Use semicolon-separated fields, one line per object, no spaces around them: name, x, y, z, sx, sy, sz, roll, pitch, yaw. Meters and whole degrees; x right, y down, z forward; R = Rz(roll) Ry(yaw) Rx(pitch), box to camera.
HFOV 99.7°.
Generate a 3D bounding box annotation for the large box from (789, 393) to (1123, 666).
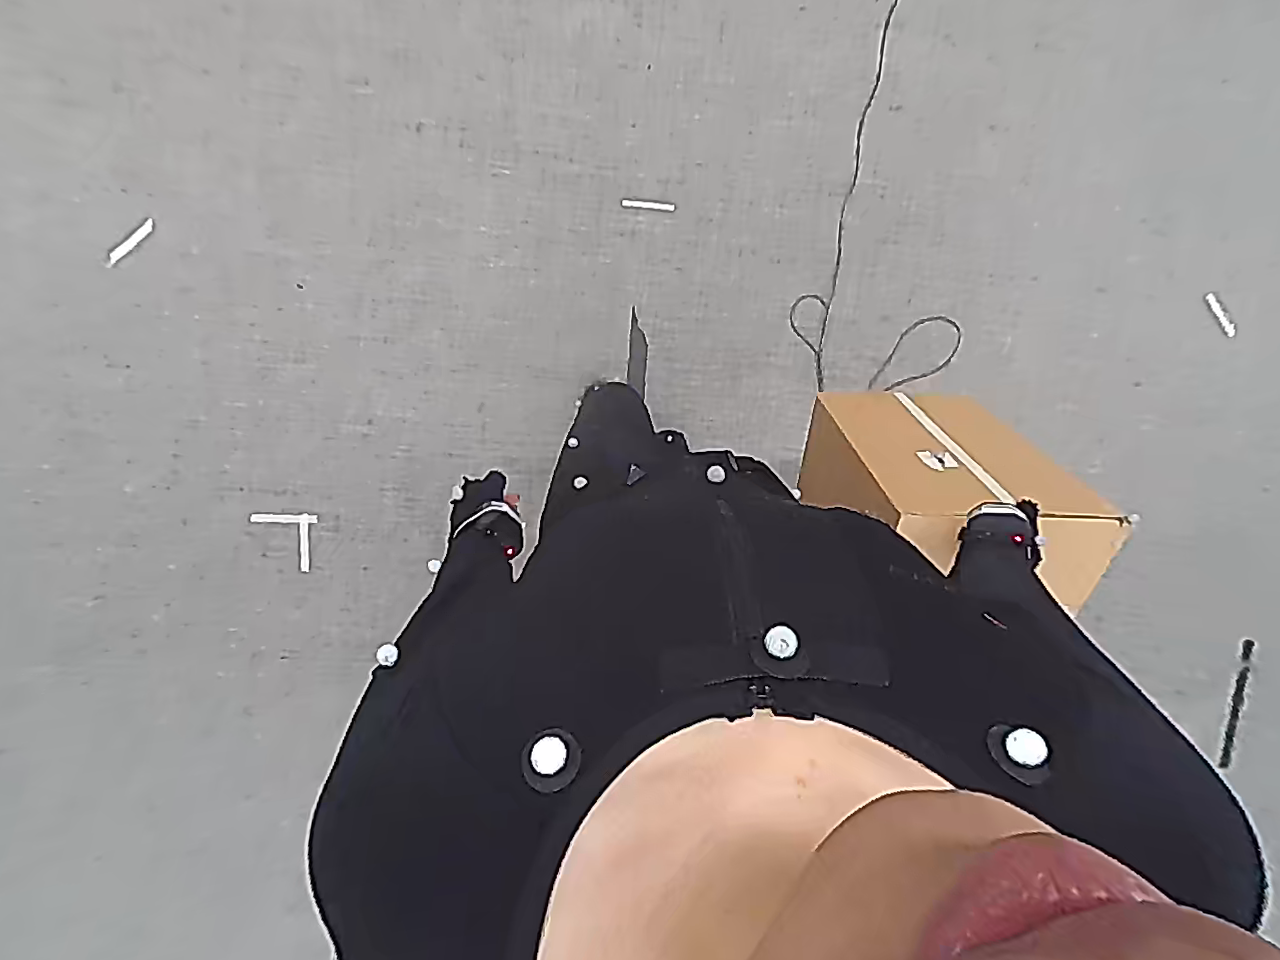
large box;0.492;0.071;0.970;0.320;0.408;0.320;1;124;-1
